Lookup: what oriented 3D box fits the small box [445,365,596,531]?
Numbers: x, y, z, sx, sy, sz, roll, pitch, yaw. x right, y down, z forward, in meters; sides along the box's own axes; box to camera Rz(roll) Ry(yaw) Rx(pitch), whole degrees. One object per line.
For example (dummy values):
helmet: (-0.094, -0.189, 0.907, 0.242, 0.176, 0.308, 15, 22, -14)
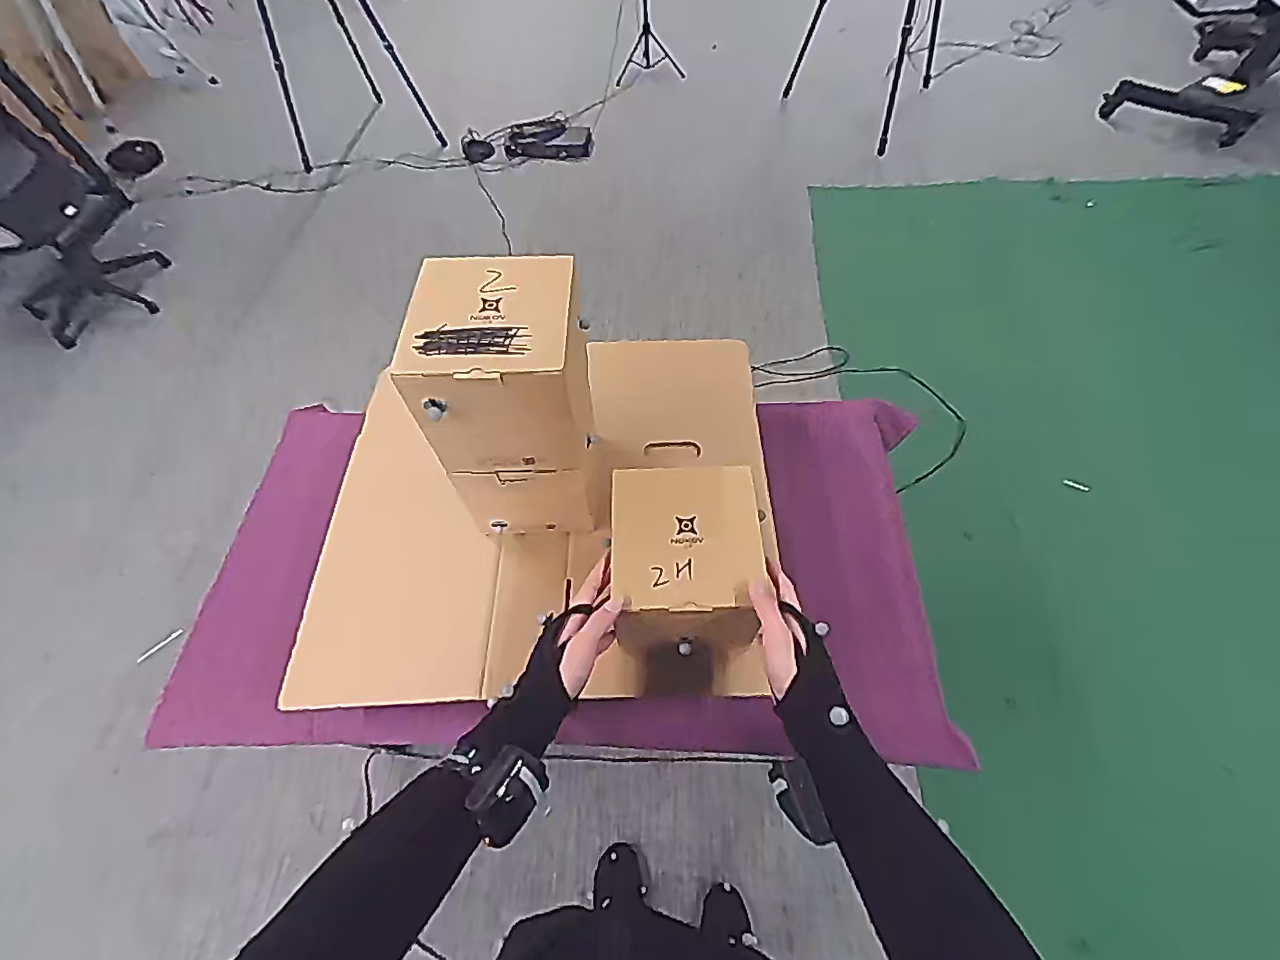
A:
small box: (-0.150, -0.037, 0.749, 0.168, 0.176, 0.179, -1, 57, 0)
